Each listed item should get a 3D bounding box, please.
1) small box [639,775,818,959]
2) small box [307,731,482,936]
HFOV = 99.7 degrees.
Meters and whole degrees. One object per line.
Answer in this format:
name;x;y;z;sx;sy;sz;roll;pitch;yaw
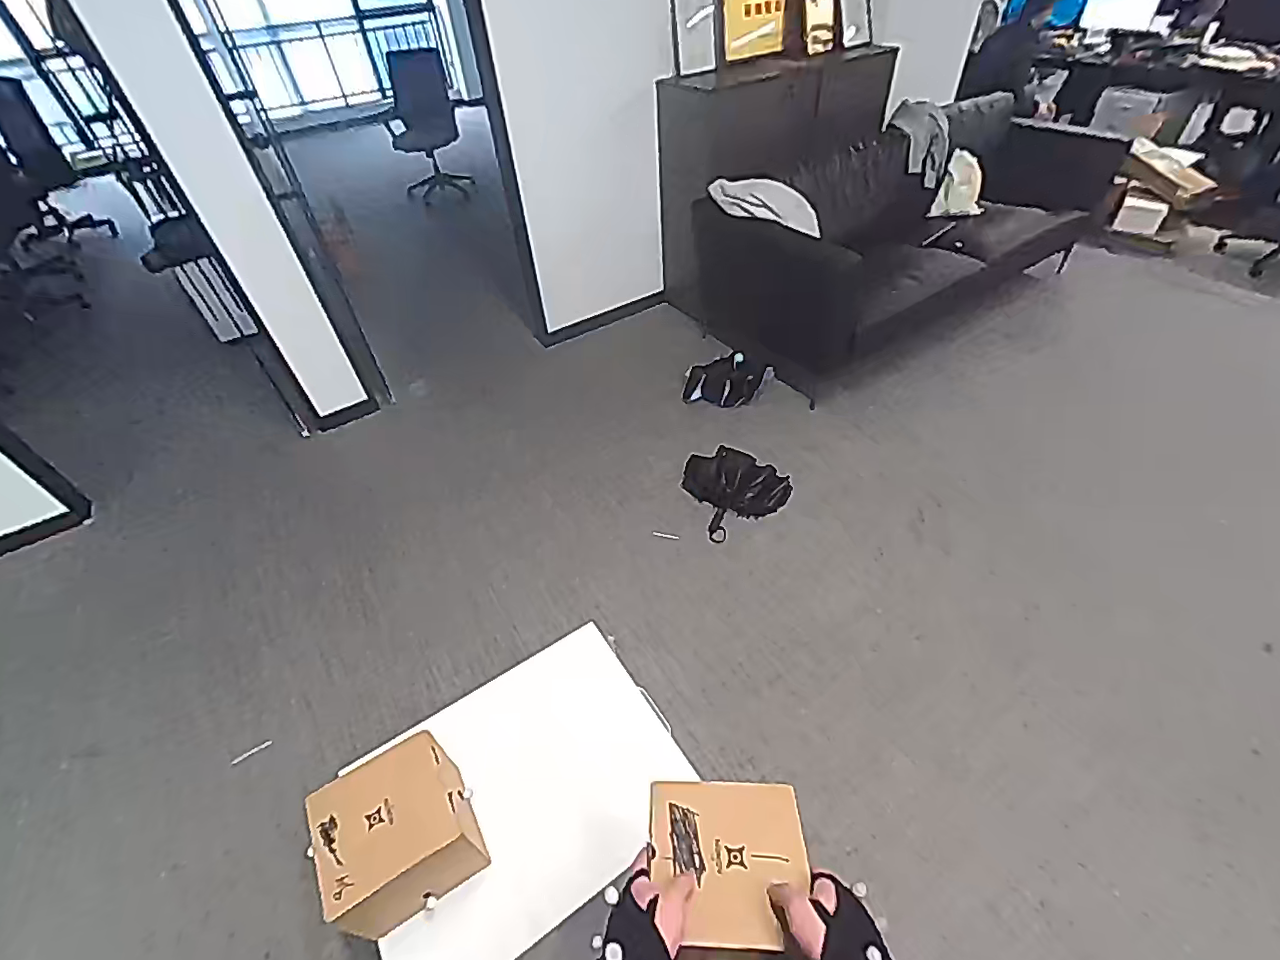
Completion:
small box;0.092;0.473;0.628;0.179;0.176;0.168;1;30;3
small box;-0.344;0.510;0.783;0.179;0.176;0.168;-25;48;-21
